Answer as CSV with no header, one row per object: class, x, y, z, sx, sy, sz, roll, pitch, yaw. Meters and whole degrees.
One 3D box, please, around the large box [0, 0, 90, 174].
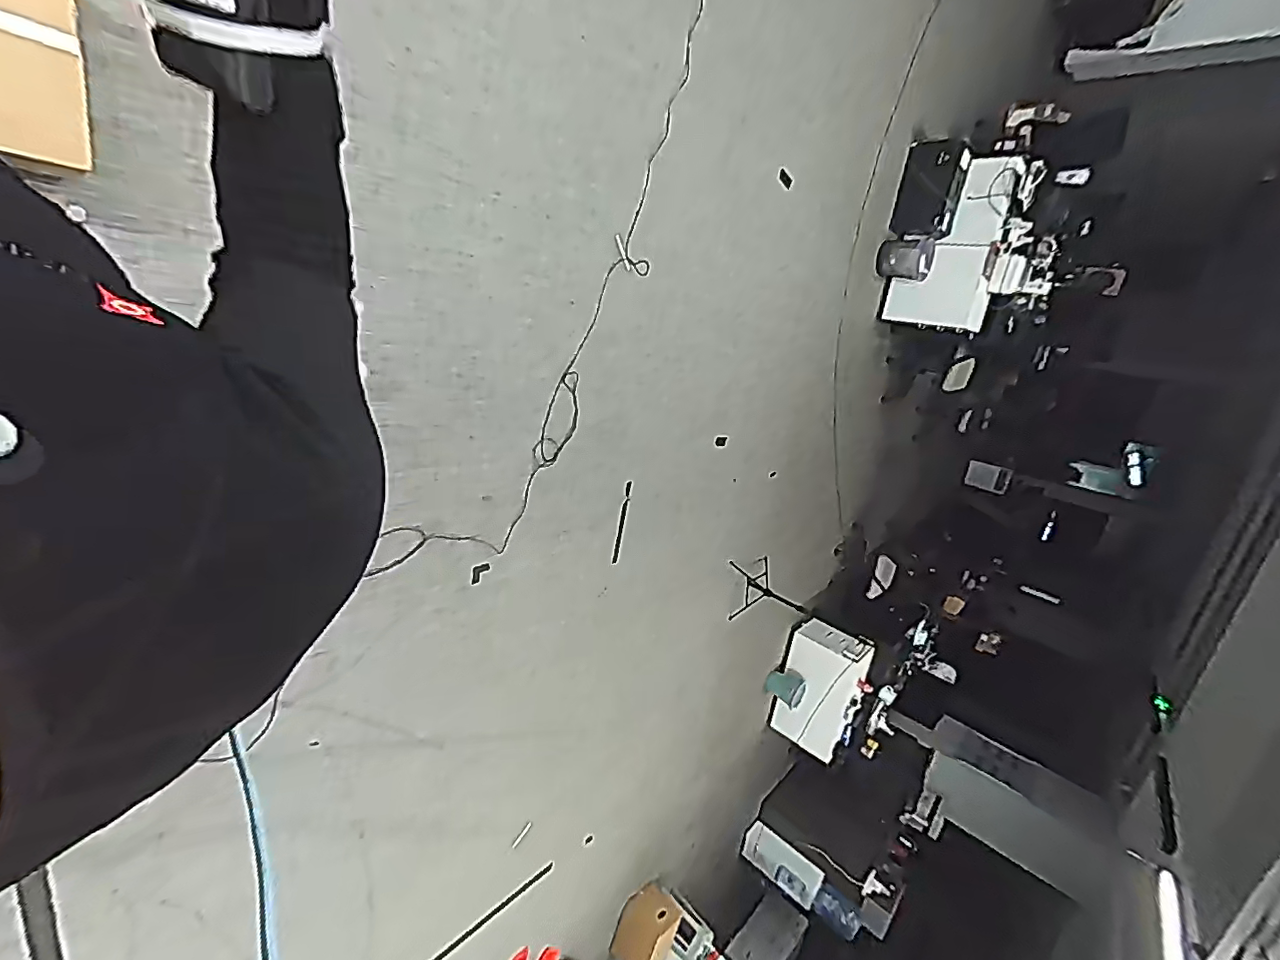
large box,-1.025,-0.624,0.690,0.408,0.320,0.320,-10,116,-49
